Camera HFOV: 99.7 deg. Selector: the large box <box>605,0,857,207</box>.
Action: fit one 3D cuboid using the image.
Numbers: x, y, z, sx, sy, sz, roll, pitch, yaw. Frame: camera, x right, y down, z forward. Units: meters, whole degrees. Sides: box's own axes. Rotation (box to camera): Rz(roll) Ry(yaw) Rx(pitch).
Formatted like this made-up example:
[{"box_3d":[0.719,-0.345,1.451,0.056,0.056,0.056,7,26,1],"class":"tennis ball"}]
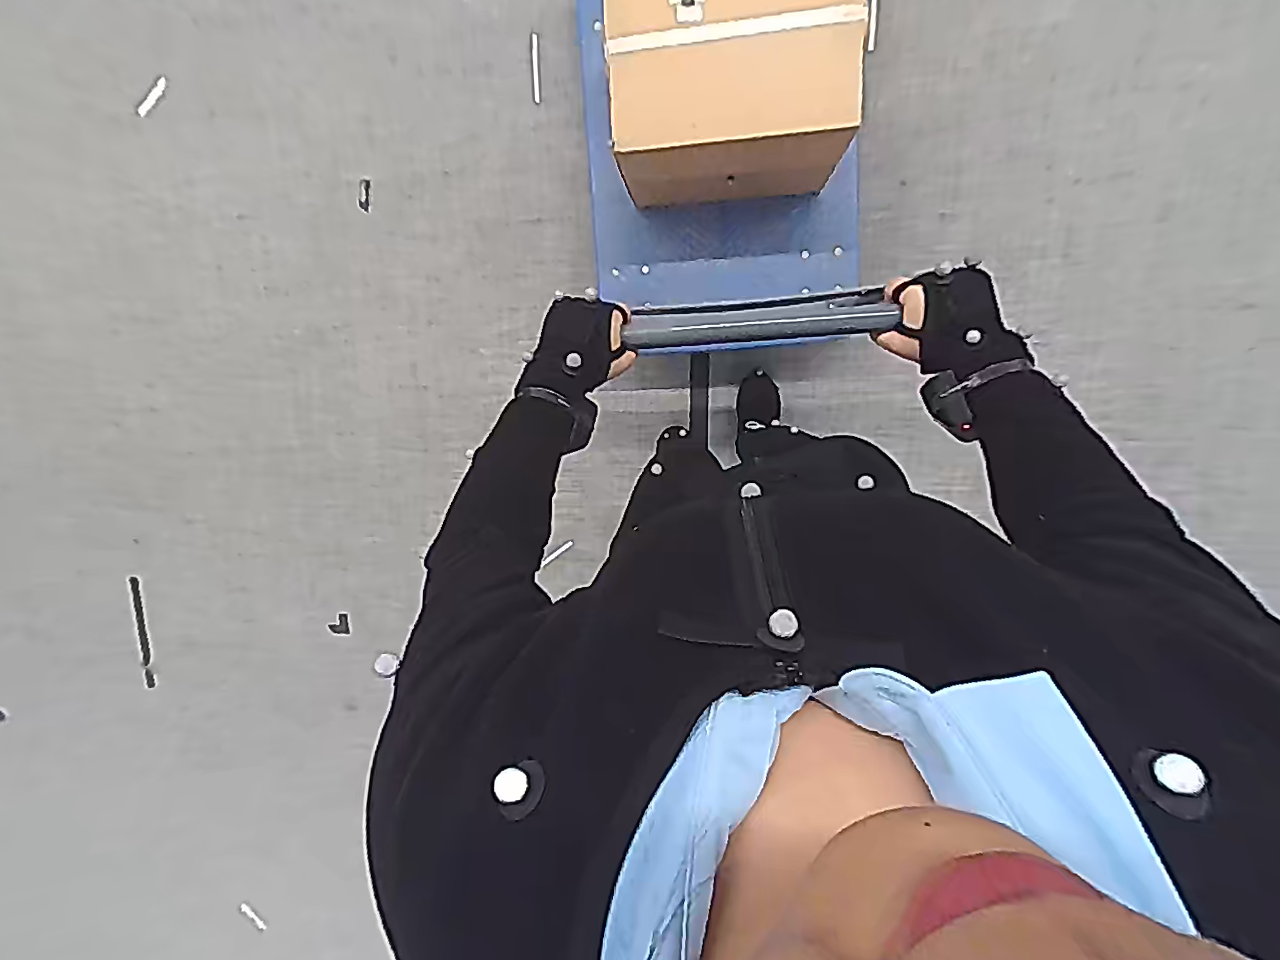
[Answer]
[{"box_3d":[0.166,-0.741,1.021,0.408,0.320,0.320,-2,99,8],"class":"large box"}]
